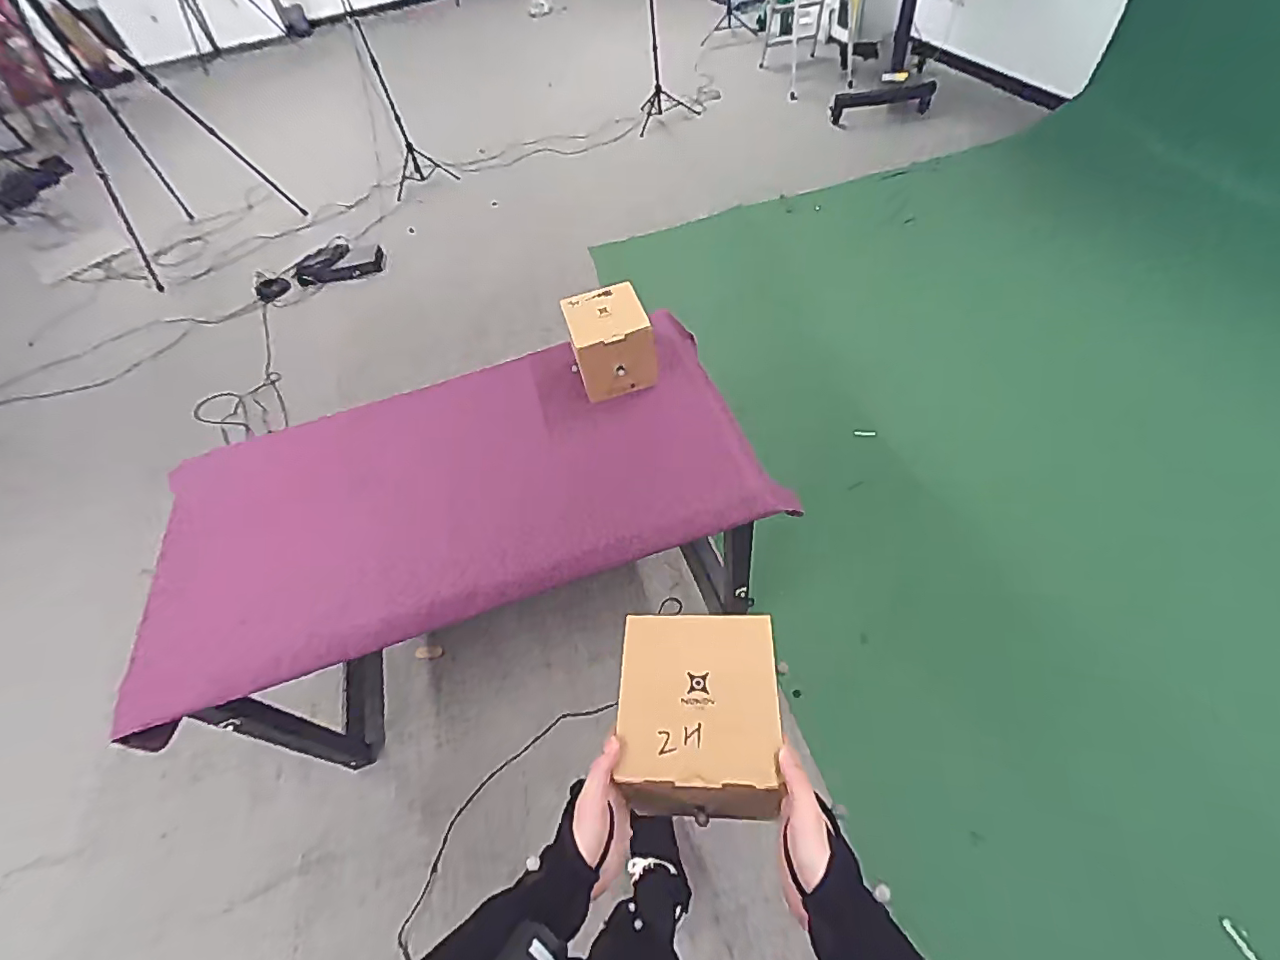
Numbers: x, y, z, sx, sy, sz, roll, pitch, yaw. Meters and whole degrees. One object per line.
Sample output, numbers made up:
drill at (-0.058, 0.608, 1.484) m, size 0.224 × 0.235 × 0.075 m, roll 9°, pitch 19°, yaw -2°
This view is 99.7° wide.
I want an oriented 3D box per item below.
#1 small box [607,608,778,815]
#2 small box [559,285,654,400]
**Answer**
small box at (0.065, 0.267, 0.627) m, size 0.168 × 0.176 × 0.179 m, roll -2°, pitch 49°, yaw 9°
small box at (-0.072, -0.302, 1.225) m, size 0.168 × 0.176 × 0.179 m, roll -17°, pitch 55°, yaw -5°
